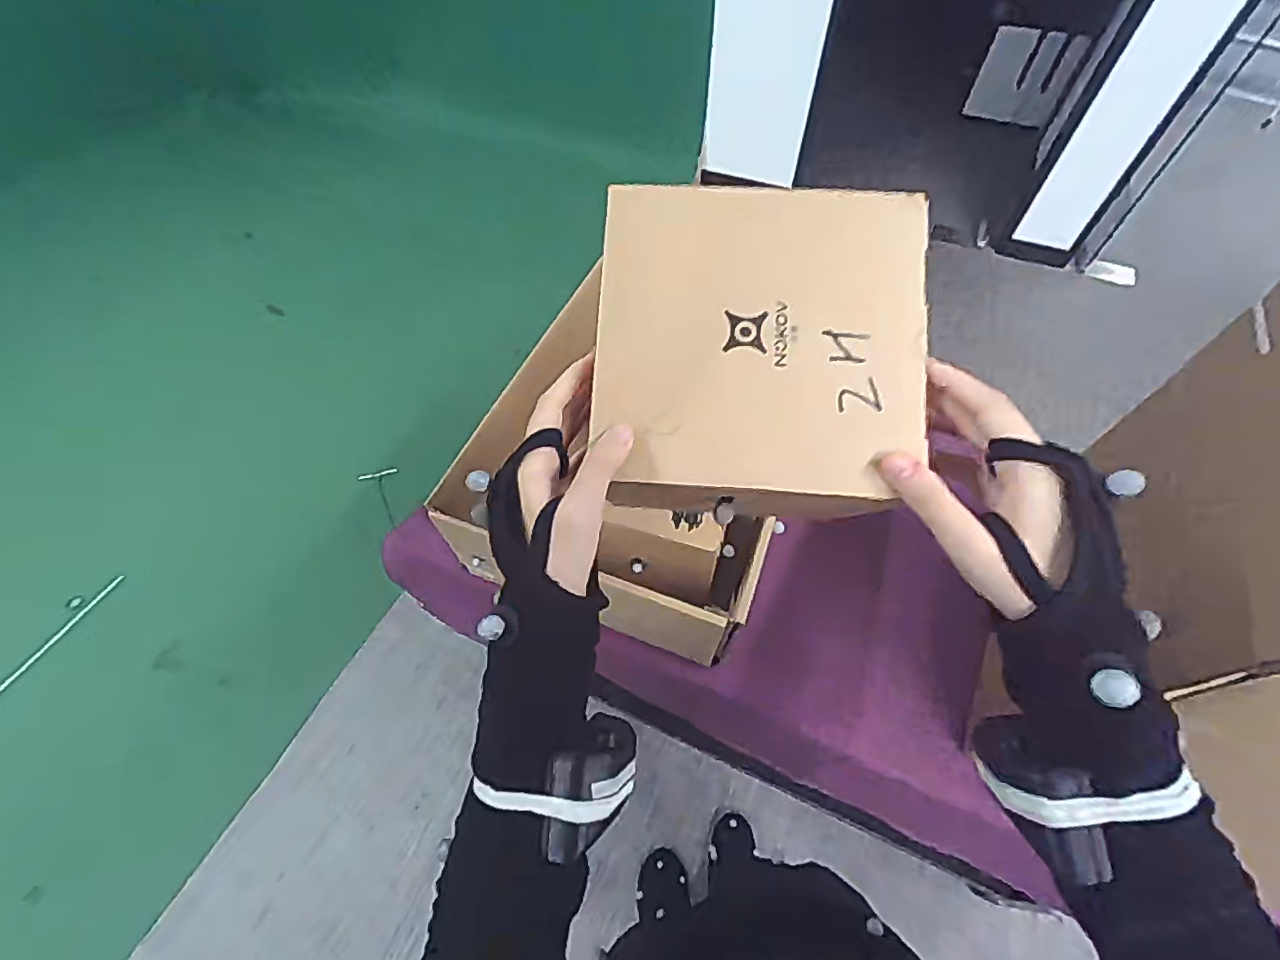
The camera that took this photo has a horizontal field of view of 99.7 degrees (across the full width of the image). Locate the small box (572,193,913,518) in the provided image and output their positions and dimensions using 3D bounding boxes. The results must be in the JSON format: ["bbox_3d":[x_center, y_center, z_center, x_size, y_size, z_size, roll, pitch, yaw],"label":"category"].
[{"bbox_3d":[0.060,-0.064,0.369,0.179,0.176,0.168,4,83,2],"label":"small box"}]
